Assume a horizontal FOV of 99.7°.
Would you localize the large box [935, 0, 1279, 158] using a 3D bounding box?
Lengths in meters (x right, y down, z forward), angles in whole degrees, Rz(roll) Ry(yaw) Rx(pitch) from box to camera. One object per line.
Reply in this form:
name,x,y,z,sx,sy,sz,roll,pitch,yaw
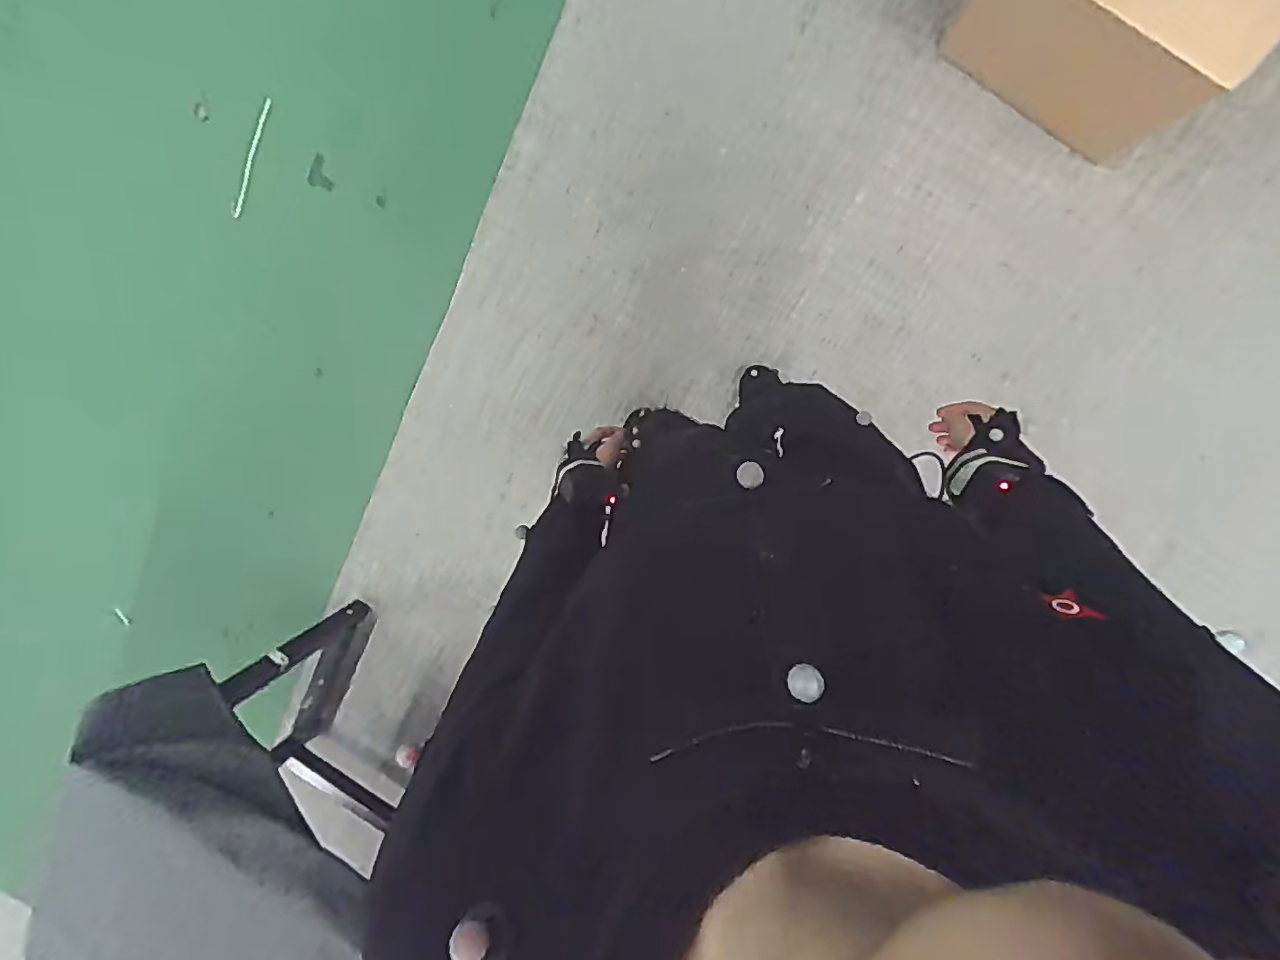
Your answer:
large box,0.799,-0.830,0.890,0.408,0.320,0.320,35,108,1
